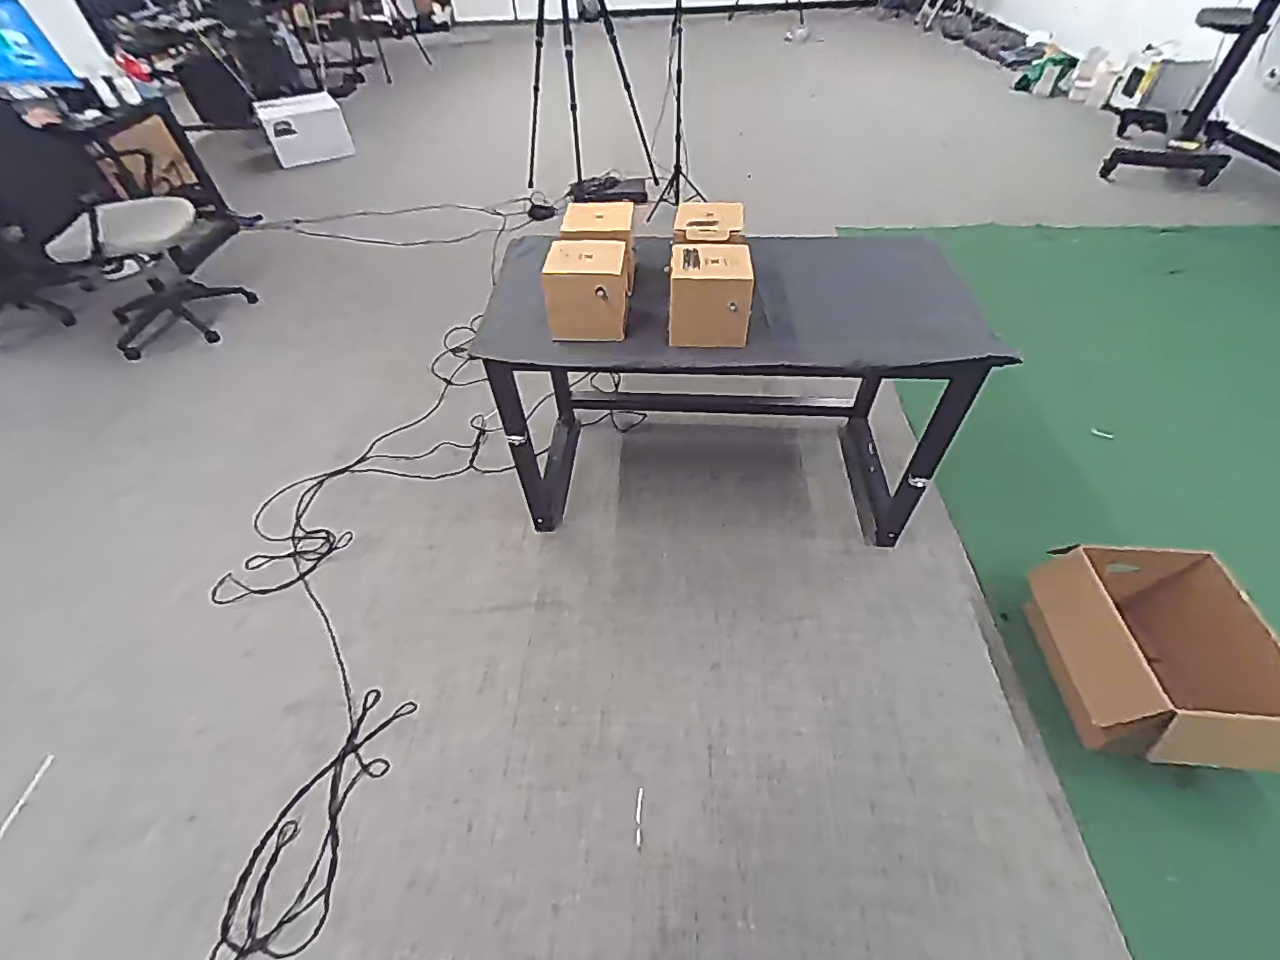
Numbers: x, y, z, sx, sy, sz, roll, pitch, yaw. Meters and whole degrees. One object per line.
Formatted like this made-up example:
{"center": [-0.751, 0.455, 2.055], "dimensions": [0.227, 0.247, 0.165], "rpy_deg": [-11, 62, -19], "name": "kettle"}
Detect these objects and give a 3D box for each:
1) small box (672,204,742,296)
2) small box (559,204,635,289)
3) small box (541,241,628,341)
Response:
{"center": [0.172, -0.592, 1.396], "dimensions": [0.168, 0.176, 0.179], "rpy_deg": [5, 48, 6], "name": "small box"}
{"center": [-0.104, -0.604, 1.421], "dimensions": [0.179, 0.176, 0.168], "rpy_deg": [0, 49, 3], "name": "small box"}
{"center": [-0.121, -0.440, 1.270], "dimensions": [0.179, 0.176, 0.168], "rpy_deg": [1, 47, 3], "name": "small box"}
